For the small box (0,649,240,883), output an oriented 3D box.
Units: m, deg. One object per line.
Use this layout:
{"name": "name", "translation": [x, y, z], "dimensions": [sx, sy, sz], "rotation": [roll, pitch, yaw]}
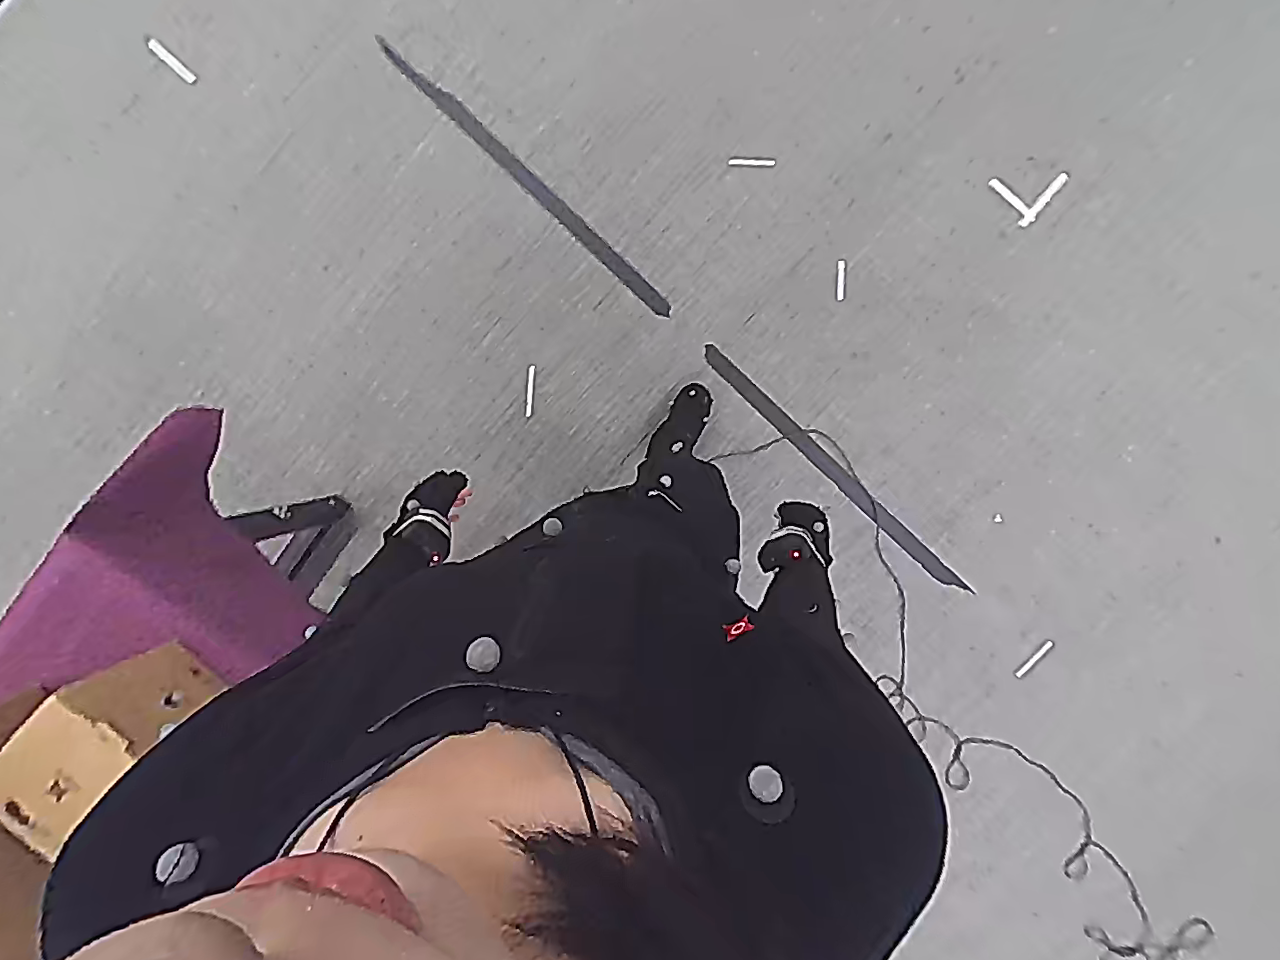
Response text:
{"name": "small box", "translation": [-0.686, 0.358, 0.716], "dimensions": [0.168, 0.176, 0.179], "rotation": [43, 93, -2]}
